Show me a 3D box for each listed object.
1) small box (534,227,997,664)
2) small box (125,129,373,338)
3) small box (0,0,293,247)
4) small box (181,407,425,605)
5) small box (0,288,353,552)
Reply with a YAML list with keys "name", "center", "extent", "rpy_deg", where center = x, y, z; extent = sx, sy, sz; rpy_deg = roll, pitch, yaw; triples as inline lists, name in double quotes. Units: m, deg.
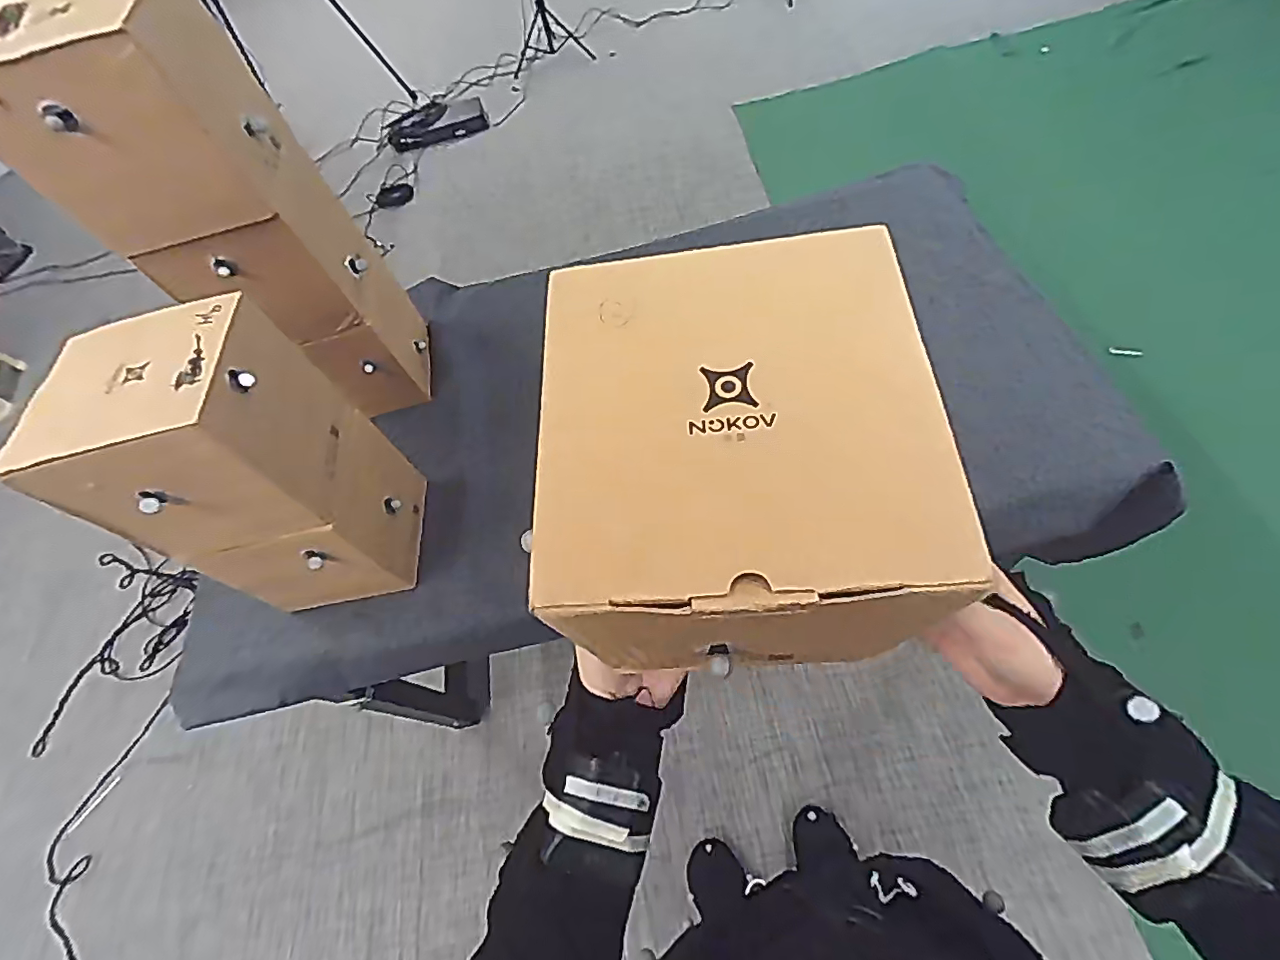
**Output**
- name: "small box"
  center: [0.049, -0.002, 0.299]
  extent: [0.168, 0.176, 0.179]
  rpy_deg: [-5, 65, 6]
- name: "small box"
  center: [-0.466, -0.290, 0.676]
  extent: [0.179, 0.176, 0.168]
  rpy_deg: [-16, 62, 0]
- name: "small box"
  center: [-0.487, -0.360, 0.529]
  extent: [0.179, 0.176, 0.168]
  rpy_deg: [-14, 62, 2]
- name: "small box"
  center: [-0.387, 0.039, 0.662]
  extent: [0.179, 0.176, 0.168]
  rpy_deg: [-11, 57, 4]
- name: "small box"
  center: [-0.419, -0.048, 0.526]
  extent: [0.179, 0.176, 0.168]
  rpy_deg: [-15, 58, 3]
